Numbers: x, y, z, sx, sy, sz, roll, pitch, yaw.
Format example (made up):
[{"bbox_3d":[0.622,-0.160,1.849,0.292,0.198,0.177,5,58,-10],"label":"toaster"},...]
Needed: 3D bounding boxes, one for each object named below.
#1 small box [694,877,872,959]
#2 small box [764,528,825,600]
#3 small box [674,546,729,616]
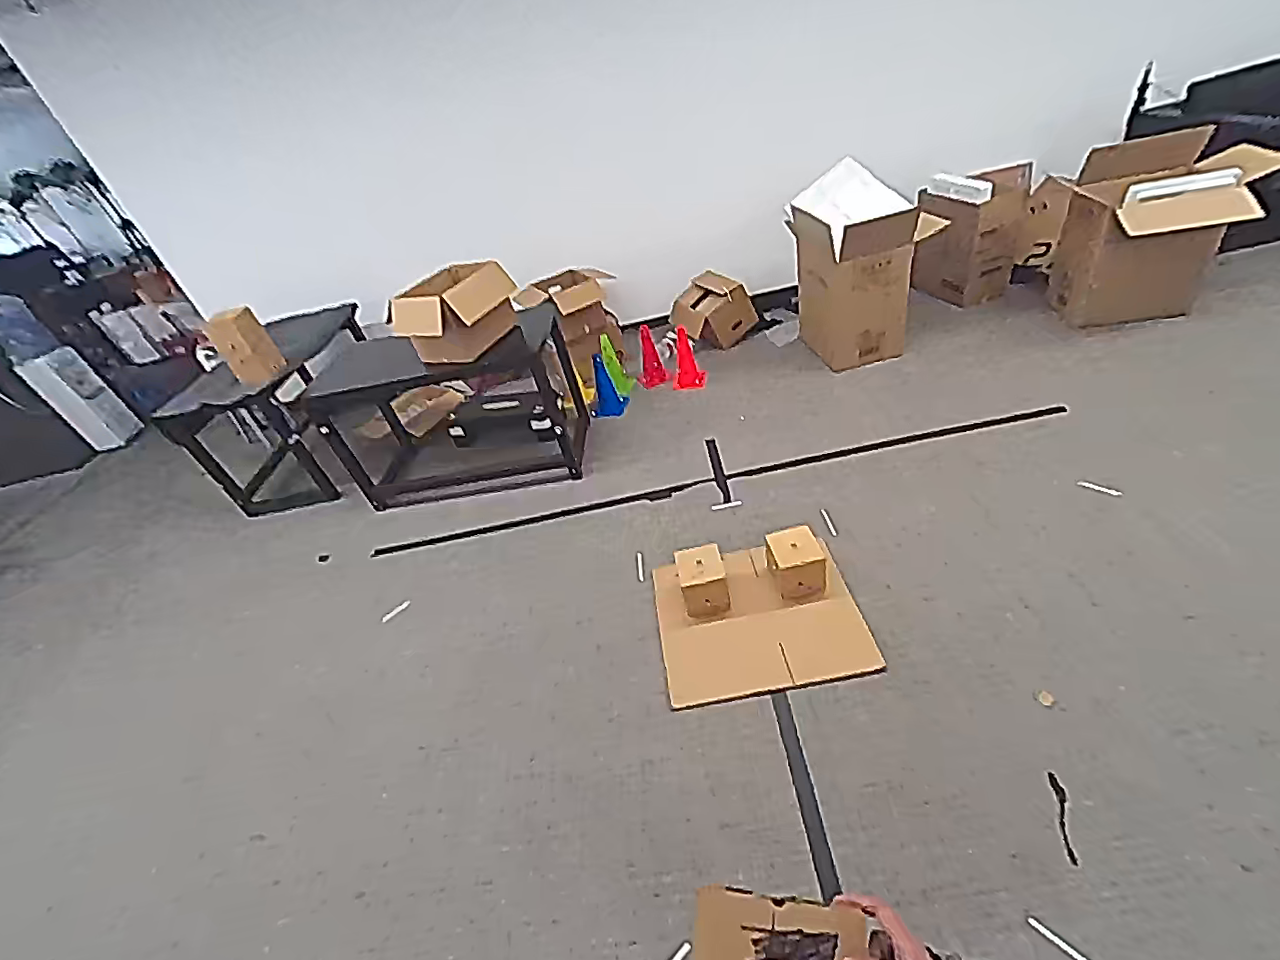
[{"bbox_3d":[0.135,0.527,0.538,0.168,0.176,0.179,1,47,11],"label":"small box"},{"bbox_3d":[0.566,0.310,1.990,0.168,0.176,0.179,-15,38,0],"label":"small box"},{"bbox_3d":[0.229,0.377,2.009,0.168,0.176,0.179,-13,38,3],"label":"small box"}]
